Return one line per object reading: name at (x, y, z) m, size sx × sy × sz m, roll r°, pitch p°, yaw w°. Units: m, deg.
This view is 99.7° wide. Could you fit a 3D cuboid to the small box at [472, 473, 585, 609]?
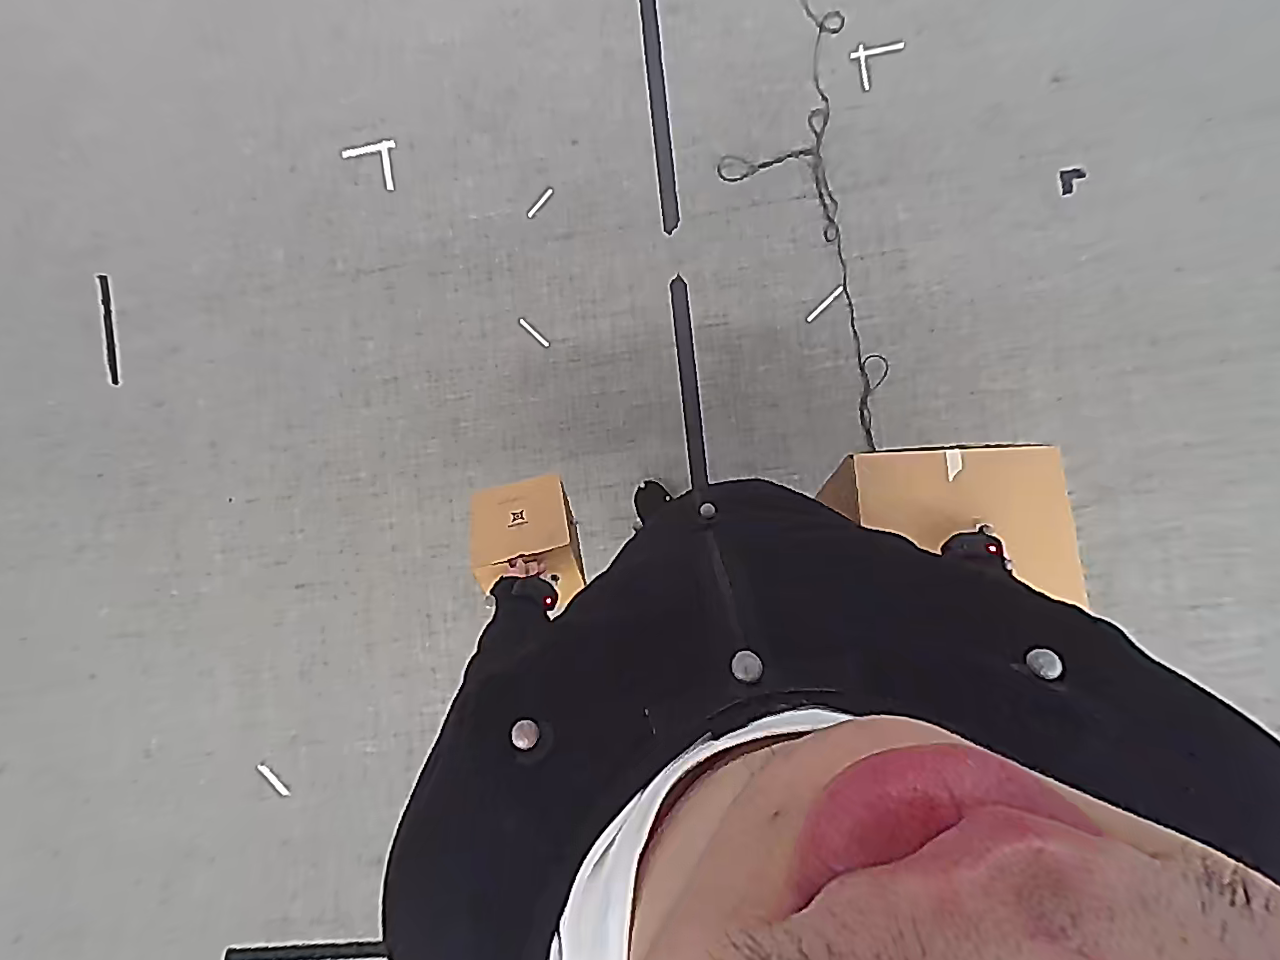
small box at (-0.203, 0.119, 1.002) m, size 0.168 × 0.176 × 0.179 m, roll -13°, pitch 45°, yaw -5°
